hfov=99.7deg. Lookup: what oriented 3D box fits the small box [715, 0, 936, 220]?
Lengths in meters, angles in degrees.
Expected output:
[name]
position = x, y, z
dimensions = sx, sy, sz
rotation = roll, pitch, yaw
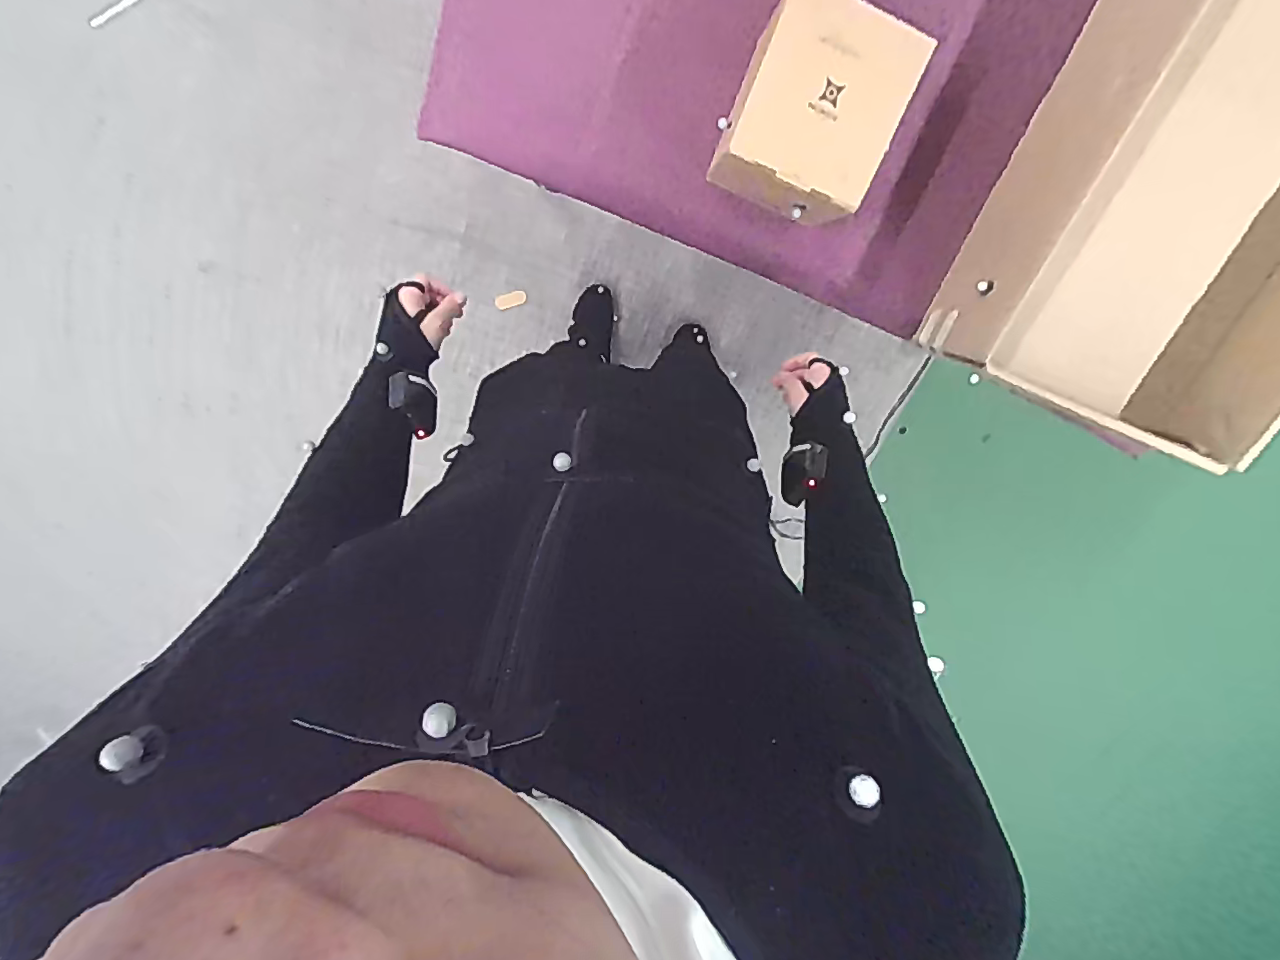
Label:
[small box]
position = 0.201, -0.435, 0.649
dimensions = 0.168, 0.176, 0.179
rotation = 20, 107, -9
